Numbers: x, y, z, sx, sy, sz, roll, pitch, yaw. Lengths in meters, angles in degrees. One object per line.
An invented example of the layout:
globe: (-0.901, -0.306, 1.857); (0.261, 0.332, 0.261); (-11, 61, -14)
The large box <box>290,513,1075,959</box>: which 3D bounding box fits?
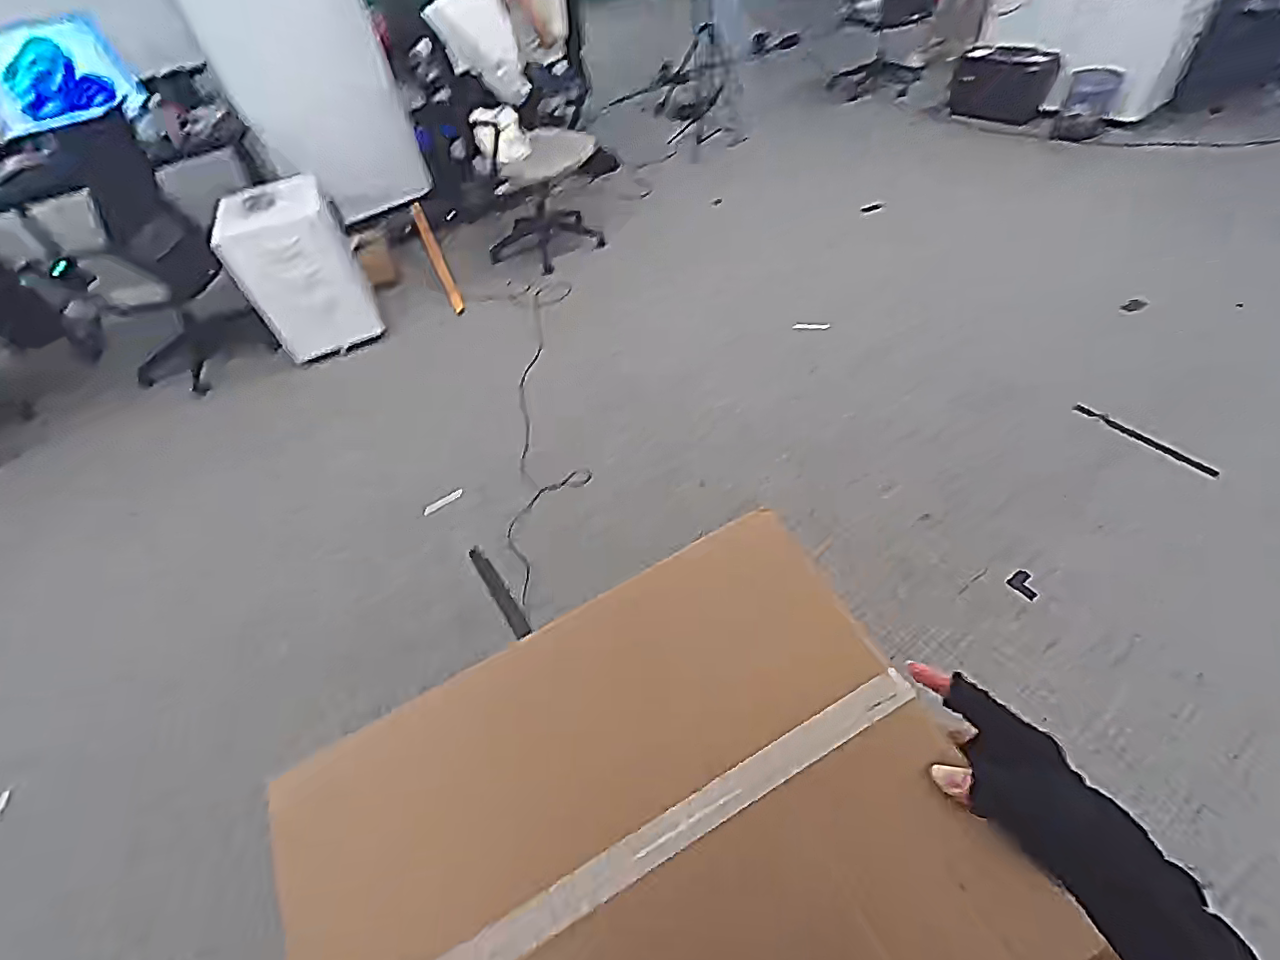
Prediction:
large box: (0.014, 0.305, 0.463); (0.408, 0.320, 0.320); (-29, 61, -8)
